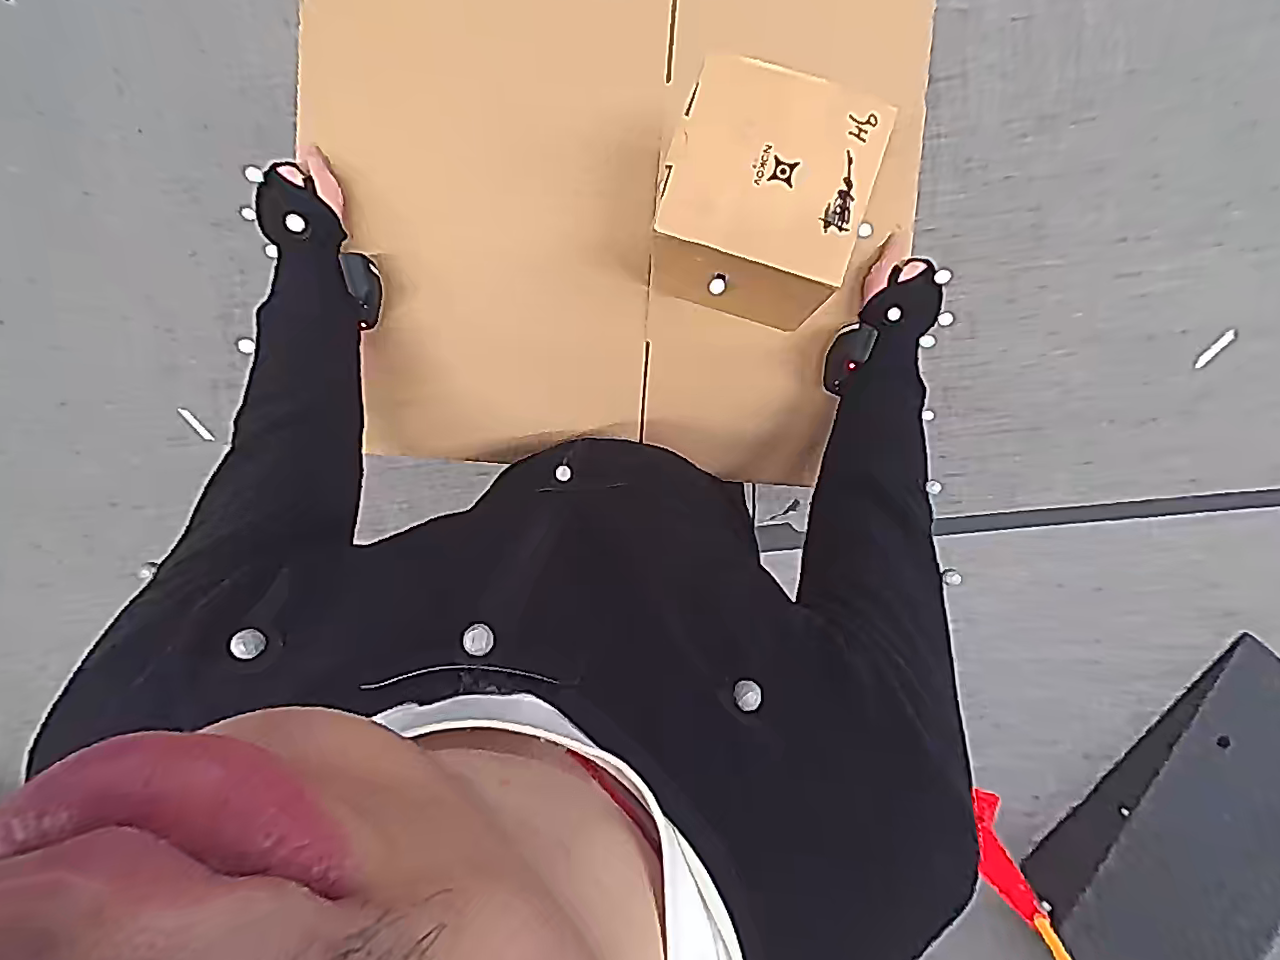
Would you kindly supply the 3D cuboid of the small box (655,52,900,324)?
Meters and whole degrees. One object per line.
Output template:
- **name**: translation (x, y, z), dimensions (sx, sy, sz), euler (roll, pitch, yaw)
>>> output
- **small box**: translation (0.124, -0.277, 0.556), dimensions (0.179, 0.176, 0.168), euler (18, 93, 2)
